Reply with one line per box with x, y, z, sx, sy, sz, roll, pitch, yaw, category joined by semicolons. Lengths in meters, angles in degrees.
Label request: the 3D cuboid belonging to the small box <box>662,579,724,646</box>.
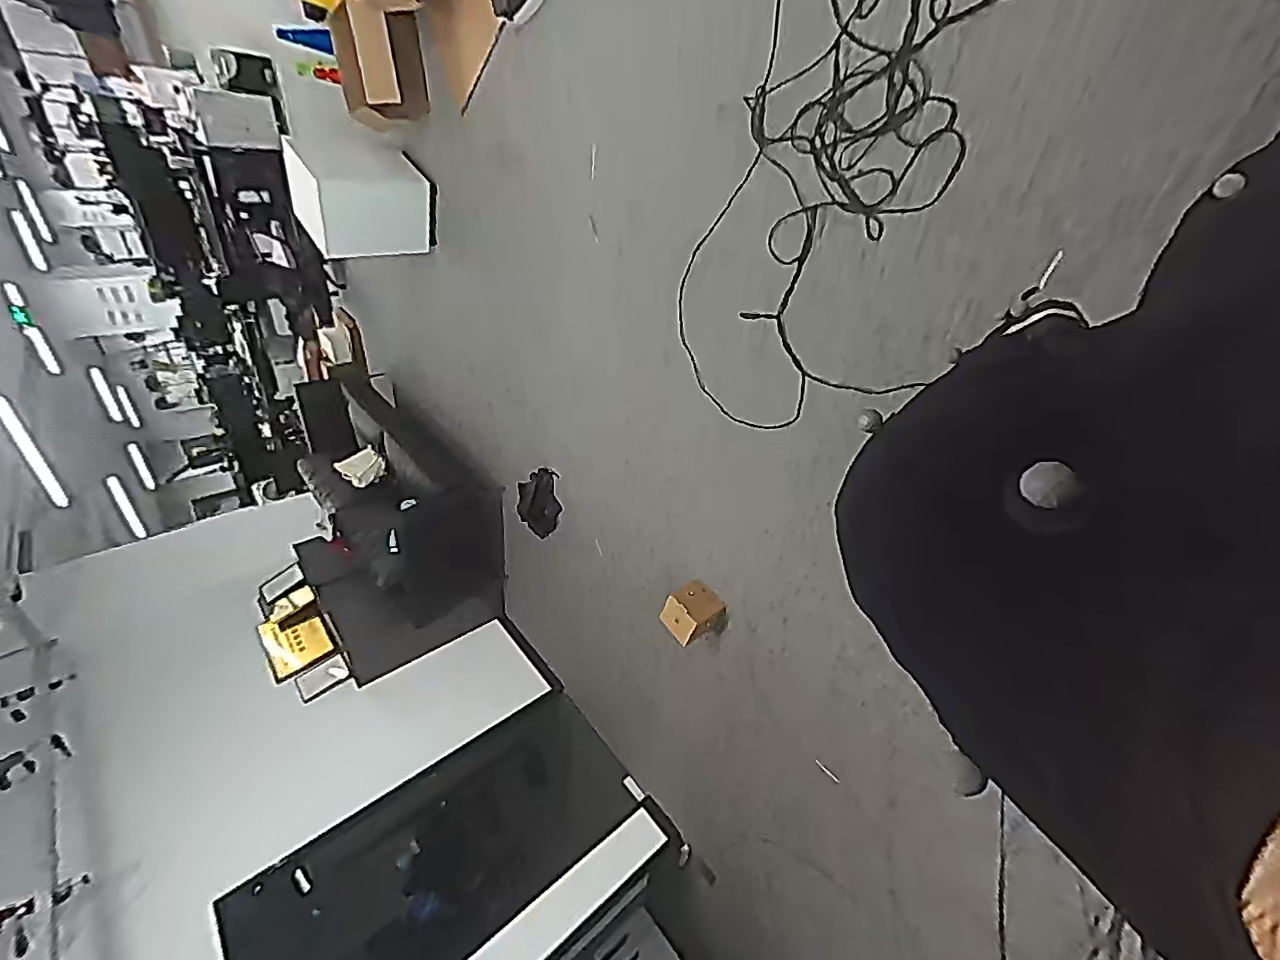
0.221;0.538;2.217;0.168;0.176;0.179;47;140;29;small box
